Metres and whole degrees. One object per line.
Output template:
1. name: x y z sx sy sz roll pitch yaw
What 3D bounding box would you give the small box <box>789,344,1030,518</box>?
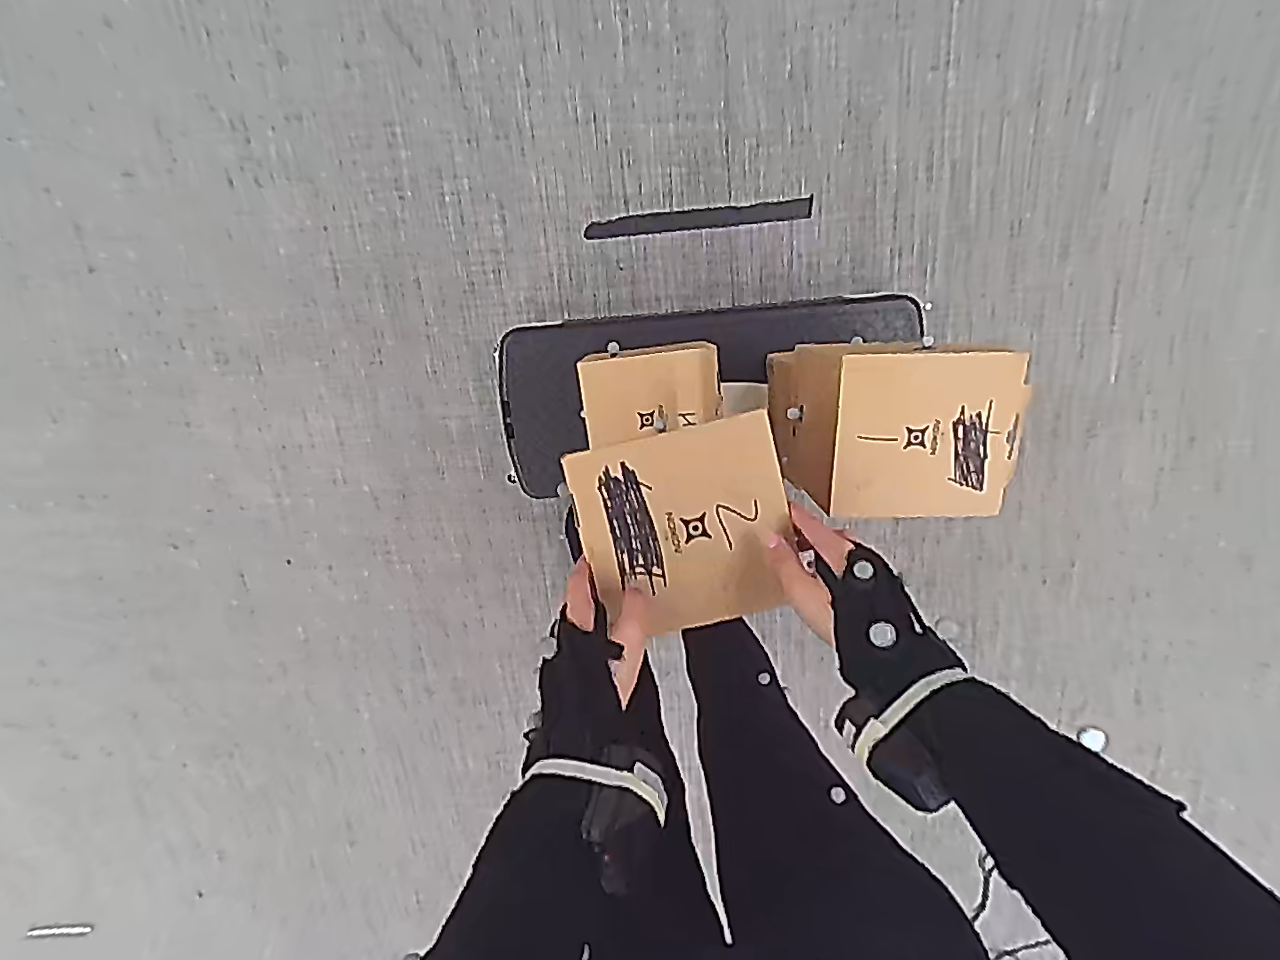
1. small box: 0.279 -0.063 0.604 0.179 0.176 0.168 0 106 1

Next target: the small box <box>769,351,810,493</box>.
1. small box: 0.284 -0.095 0.766 0.168 0.176 0.179 -6 107 1
